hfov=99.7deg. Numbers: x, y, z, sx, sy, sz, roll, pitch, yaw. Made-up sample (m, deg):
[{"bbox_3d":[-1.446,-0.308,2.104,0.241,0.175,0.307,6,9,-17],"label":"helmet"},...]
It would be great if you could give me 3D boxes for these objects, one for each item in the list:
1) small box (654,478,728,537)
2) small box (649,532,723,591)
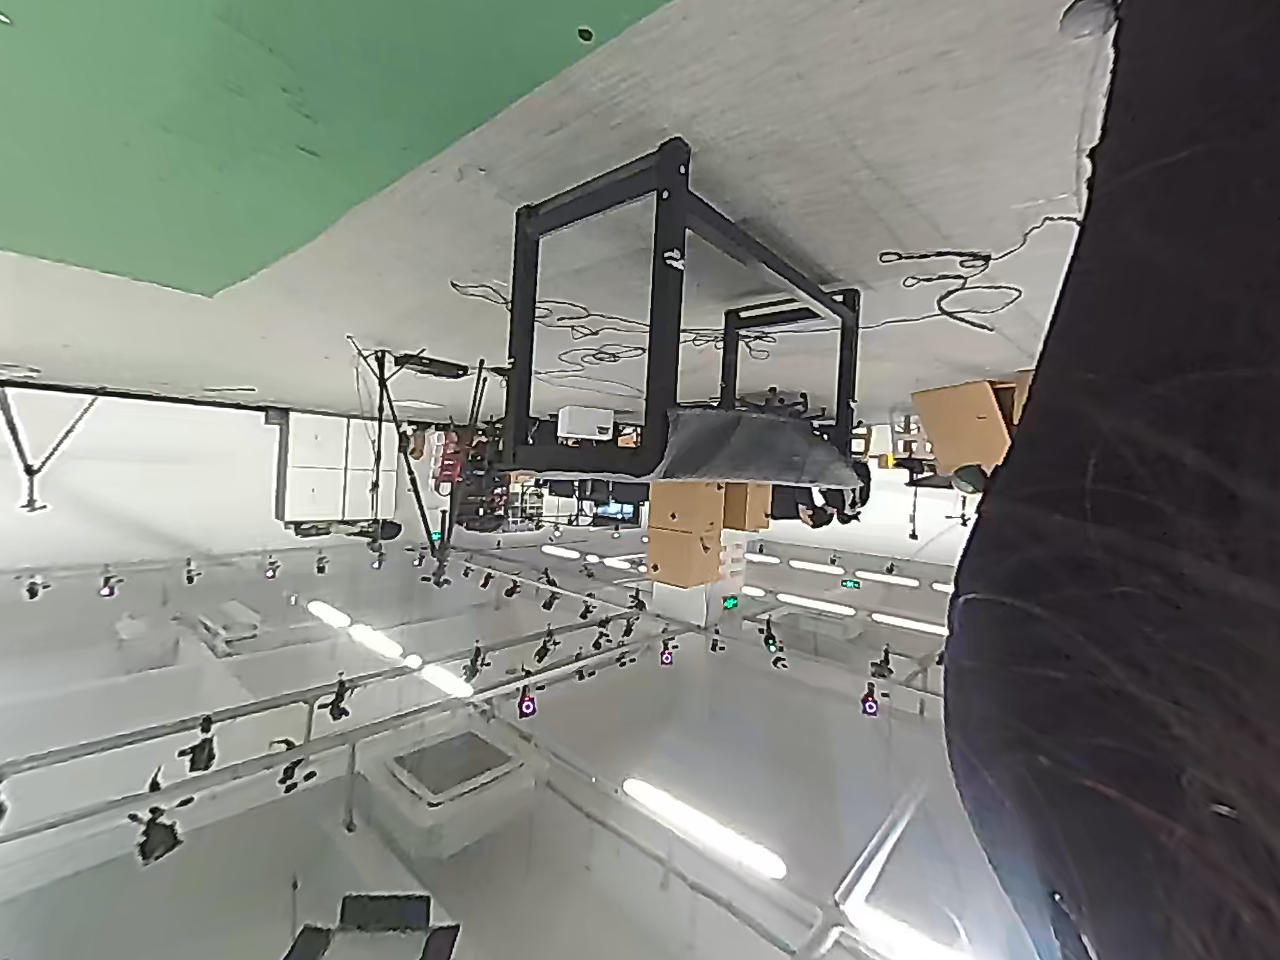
[{"bbox_3d":[0.162,0.081,1.689,0.179,0.176,0.168,5,-179,42],"label":"small box"},{"bbox_3d":[0.149,0.244,1.710,0.179,0.176,0.168,3,-179,44],"label":"small box"}]
